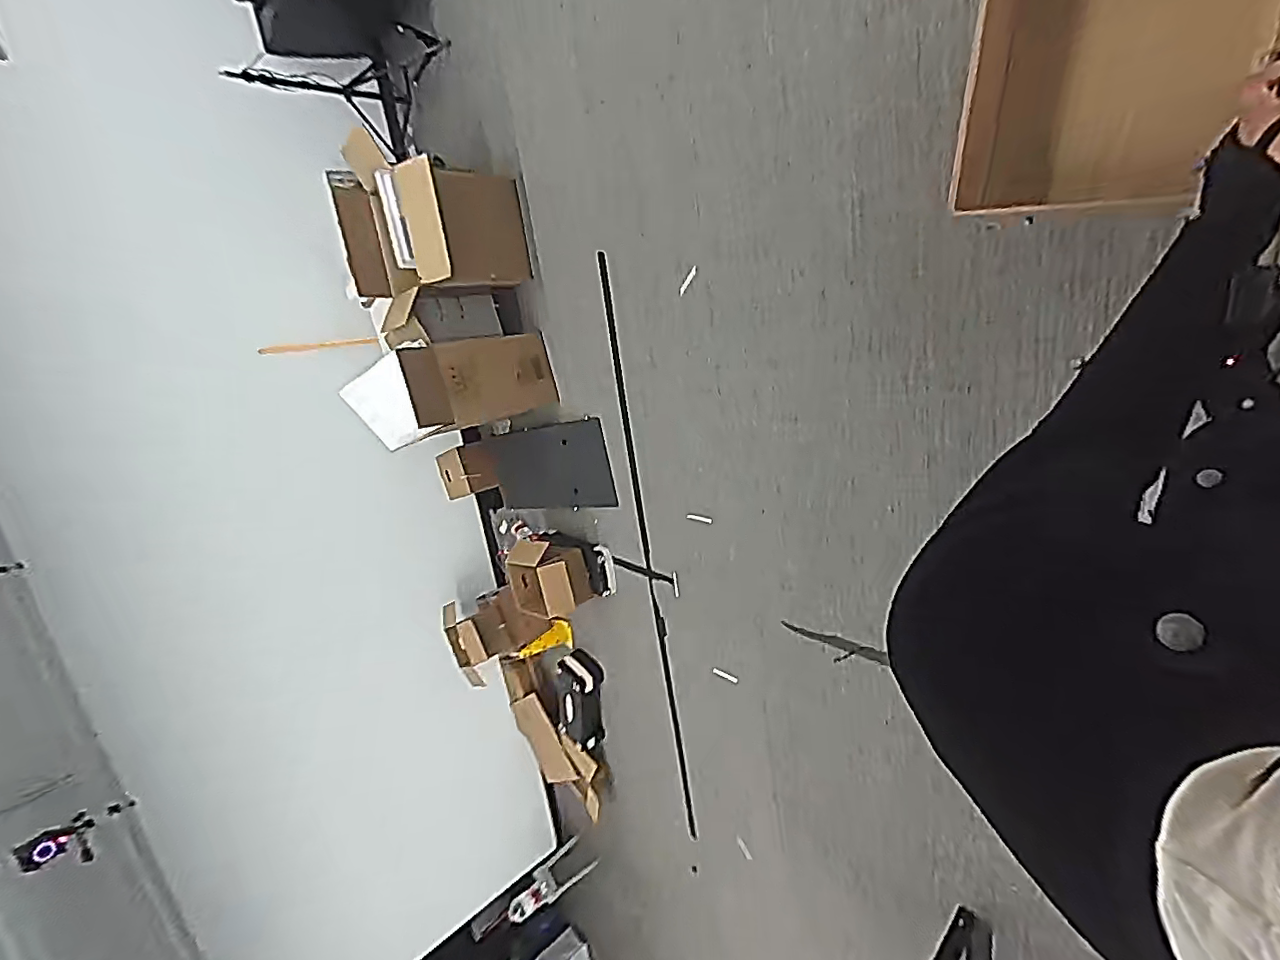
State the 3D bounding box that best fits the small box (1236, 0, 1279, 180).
[{"bbox_3d":[0.646,-0.367,0.456,0.168,0.176,0.179,12,119,41],"label":"small box"}]
